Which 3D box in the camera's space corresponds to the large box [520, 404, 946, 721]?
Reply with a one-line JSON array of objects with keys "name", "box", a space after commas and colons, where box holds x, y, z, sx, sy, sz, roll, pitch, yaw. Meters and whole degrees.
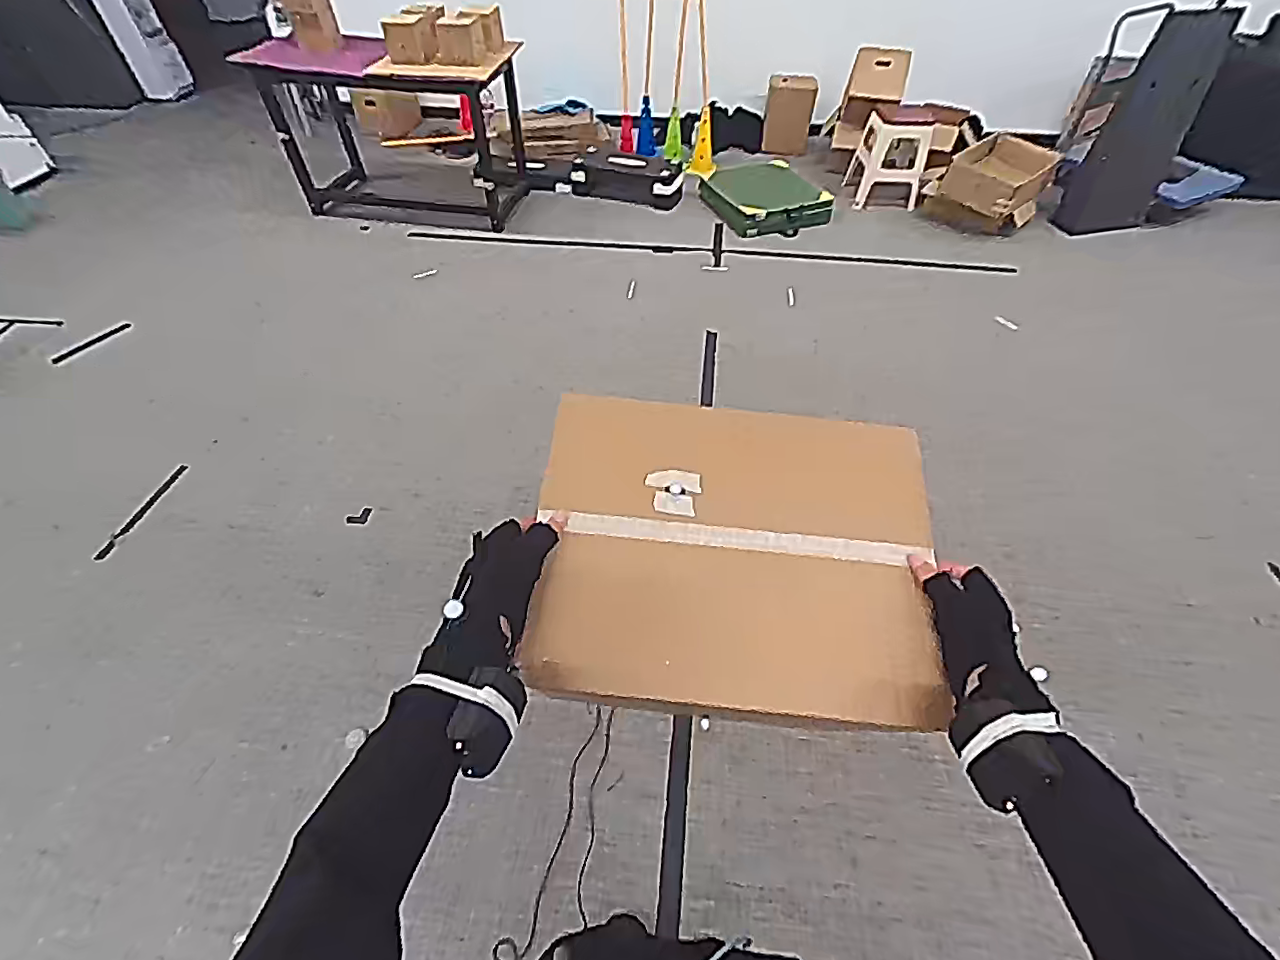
[{"name": "large box", "box": [0.096, 0.125, 0.695, 0.408, 0.320, 0.320, 5, 65, 1]}]
